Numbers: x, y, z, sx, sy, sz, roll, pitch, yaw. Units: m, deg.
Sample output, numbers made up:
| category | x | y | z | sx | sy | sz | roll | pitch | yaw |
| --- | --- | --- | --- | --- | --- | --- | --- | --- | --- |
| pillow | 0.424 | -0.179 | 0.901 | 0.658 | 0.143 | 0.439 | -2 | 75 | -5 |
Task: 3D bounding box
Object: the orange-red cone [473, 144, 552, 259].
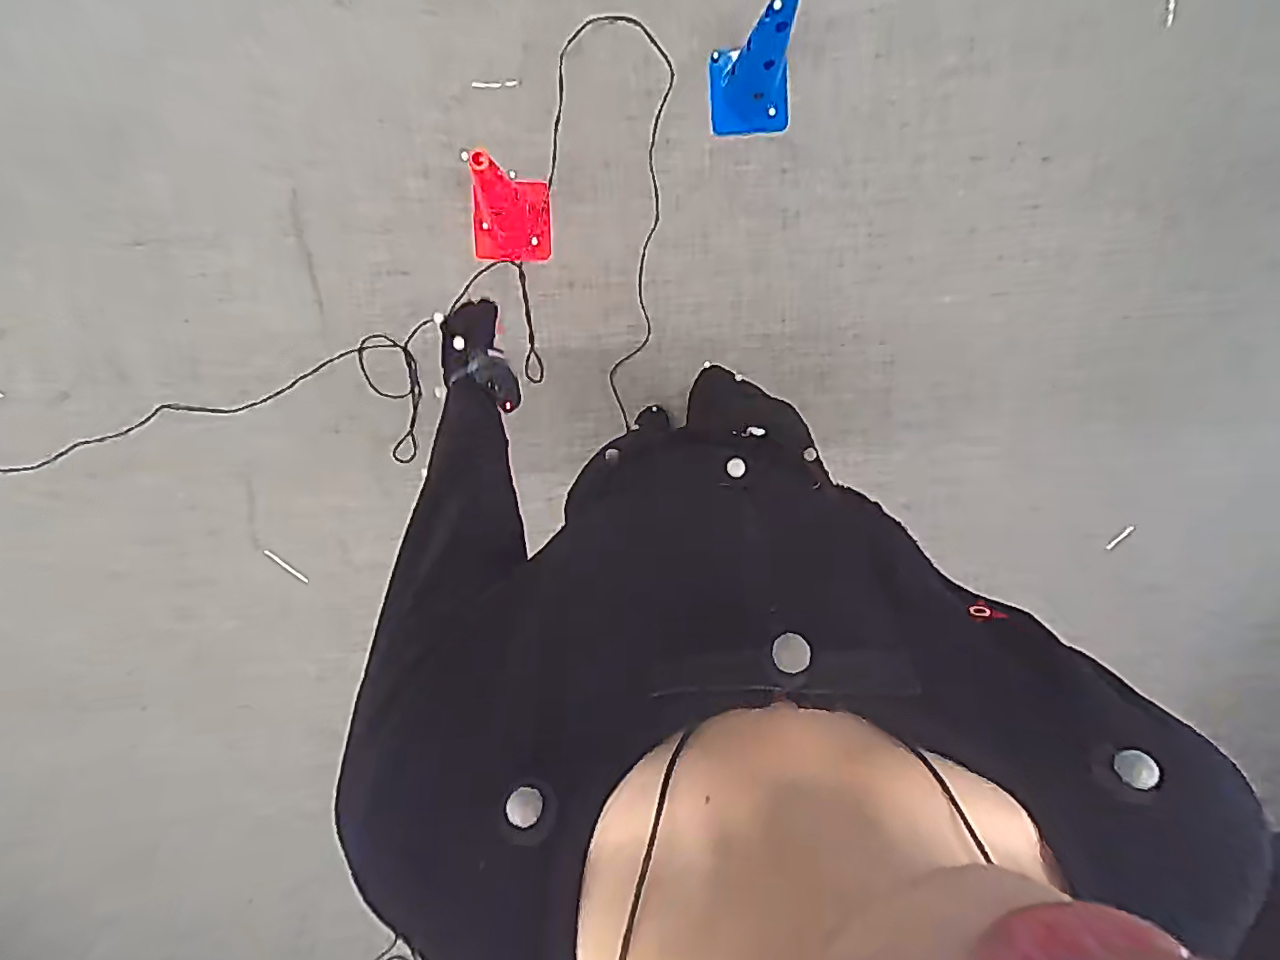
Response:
| category | x | y | z | sx | sy | sz | roll | pitch | yaw |
| --- | --- | --- | --- | --- | --- | --- | --- | --- | --- |
| orange-red cone | -0.318 | -0.659 | 1.226 | 0.198 | 0.360 | 0.199 | 1 | 96 | -3 |
